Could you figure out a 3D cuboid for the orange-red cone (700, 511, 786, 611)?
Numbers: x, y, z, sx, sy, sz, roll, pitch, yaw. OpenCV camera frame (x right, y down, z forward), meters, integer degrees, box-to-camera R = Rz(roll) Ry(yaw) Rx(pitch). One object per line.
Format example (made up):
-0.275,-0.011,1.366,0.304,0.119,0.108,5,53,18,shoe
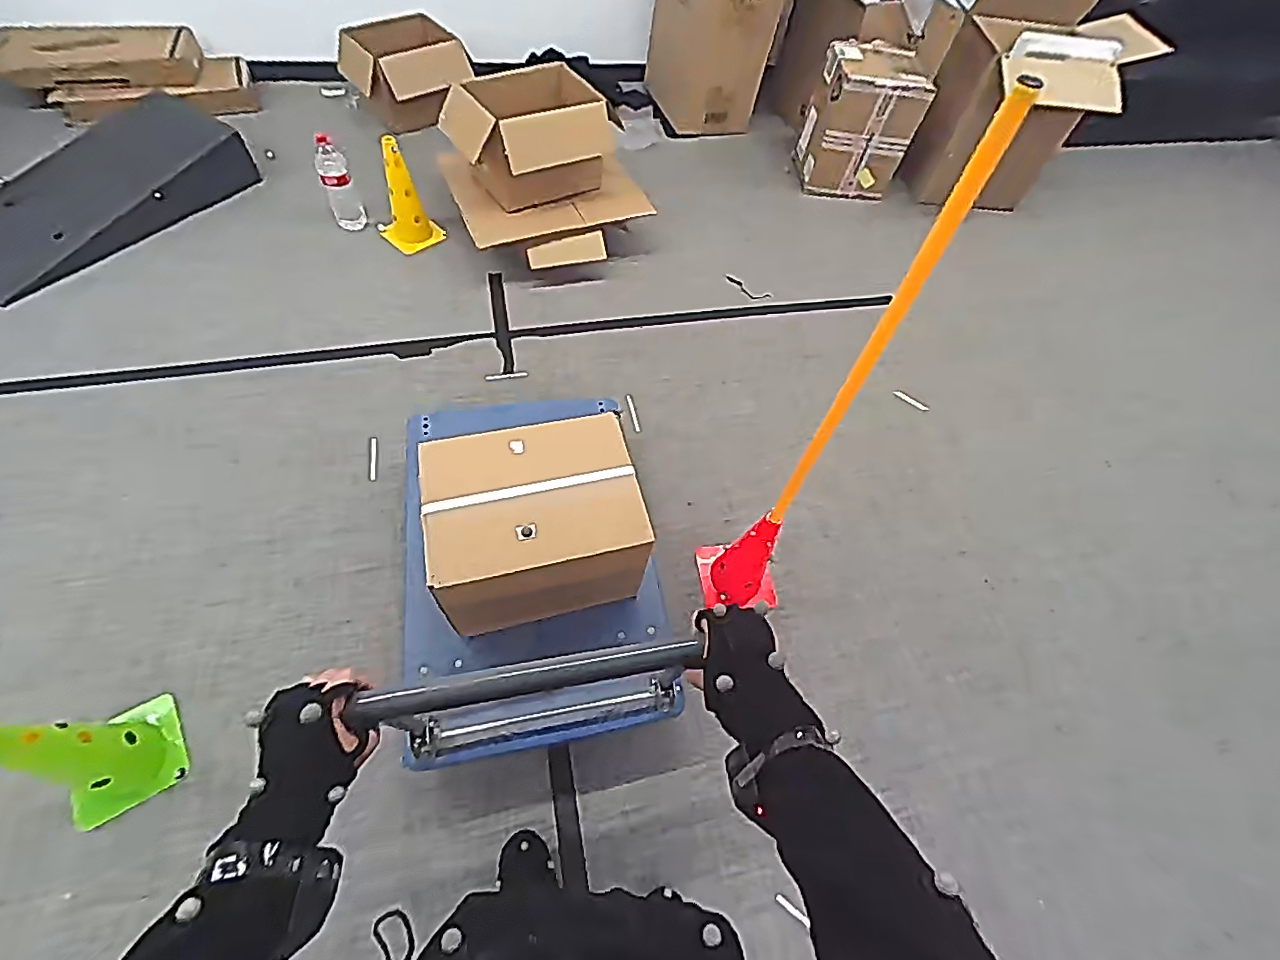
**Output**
0.291,0.174,1.350,0.199,0.360,0.198,-3,59,-10,orange-red cone
